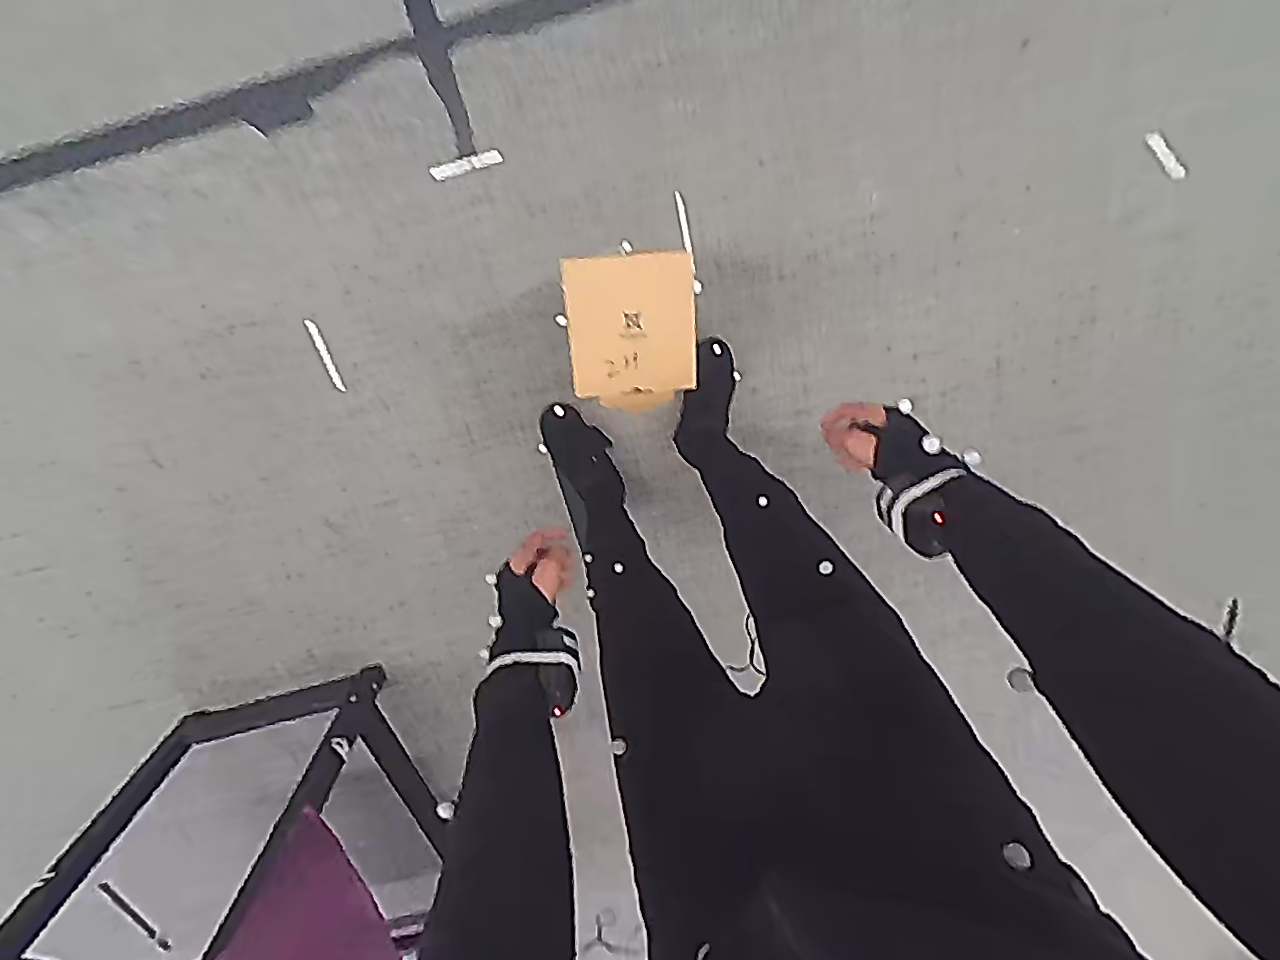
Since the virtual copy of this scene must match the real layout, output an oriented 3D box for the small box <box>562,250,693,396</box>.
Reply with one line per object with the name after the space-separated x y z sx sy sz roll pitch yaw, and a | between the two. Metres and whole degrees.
-0.020 -0.228 0.770 0.168 0.176 0.179 -5 114 -3 | small box
